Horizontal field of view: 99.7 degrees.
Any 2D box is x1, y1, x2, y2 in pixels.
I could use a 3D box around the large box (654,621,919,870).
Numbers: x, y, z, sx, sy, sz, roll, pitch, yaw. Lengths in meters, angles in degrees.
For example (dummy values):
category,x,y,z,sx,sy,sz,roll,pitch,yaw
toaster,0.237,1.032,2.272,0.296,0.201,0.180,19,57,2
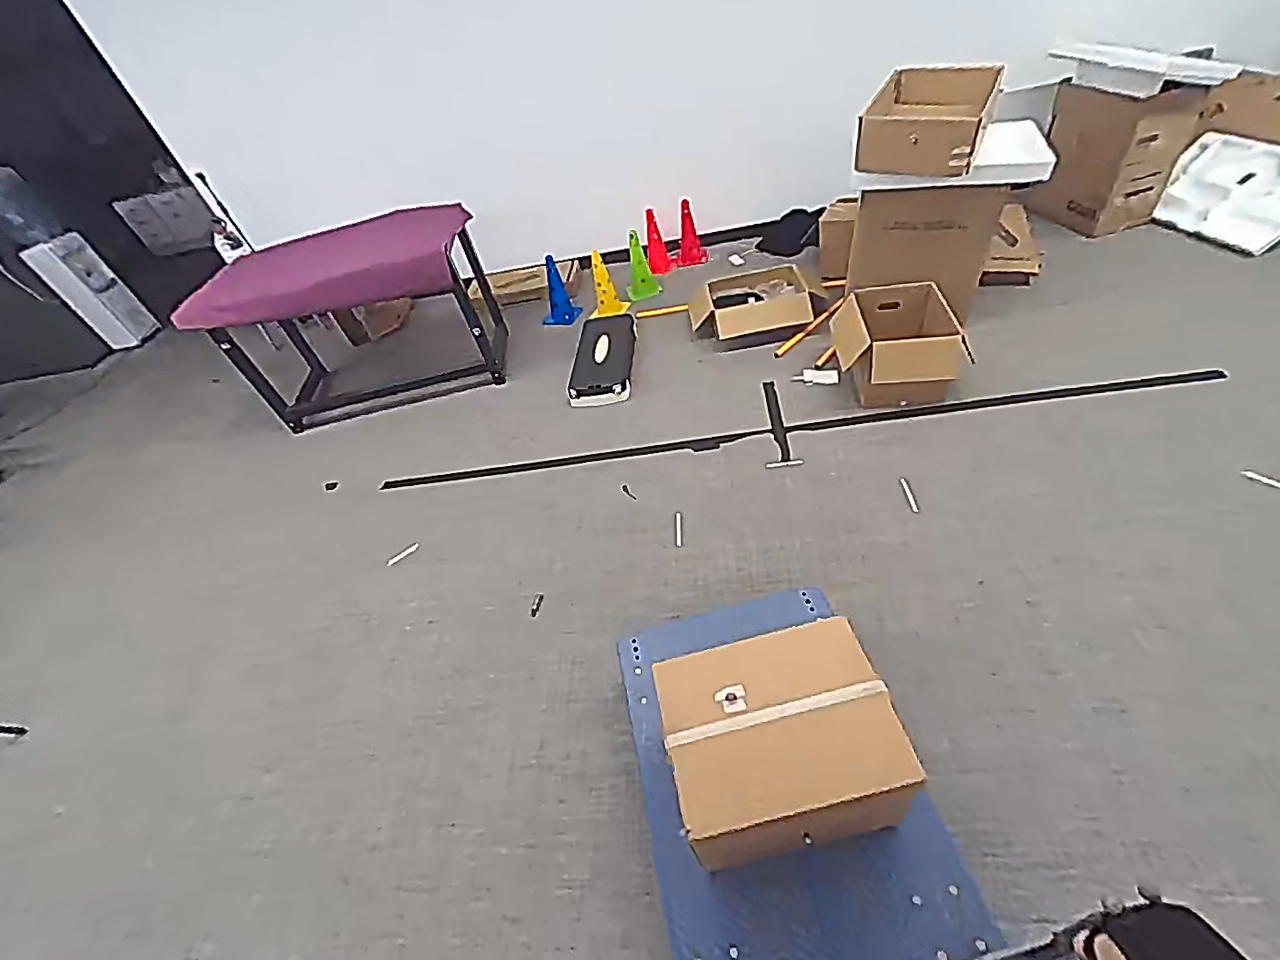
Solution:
category,x,y,z,sx,sy,sz,roll,pitch,yaw
large box,0.277,0.544,1.104,0.408,0.320,0.320,-16,44,1
